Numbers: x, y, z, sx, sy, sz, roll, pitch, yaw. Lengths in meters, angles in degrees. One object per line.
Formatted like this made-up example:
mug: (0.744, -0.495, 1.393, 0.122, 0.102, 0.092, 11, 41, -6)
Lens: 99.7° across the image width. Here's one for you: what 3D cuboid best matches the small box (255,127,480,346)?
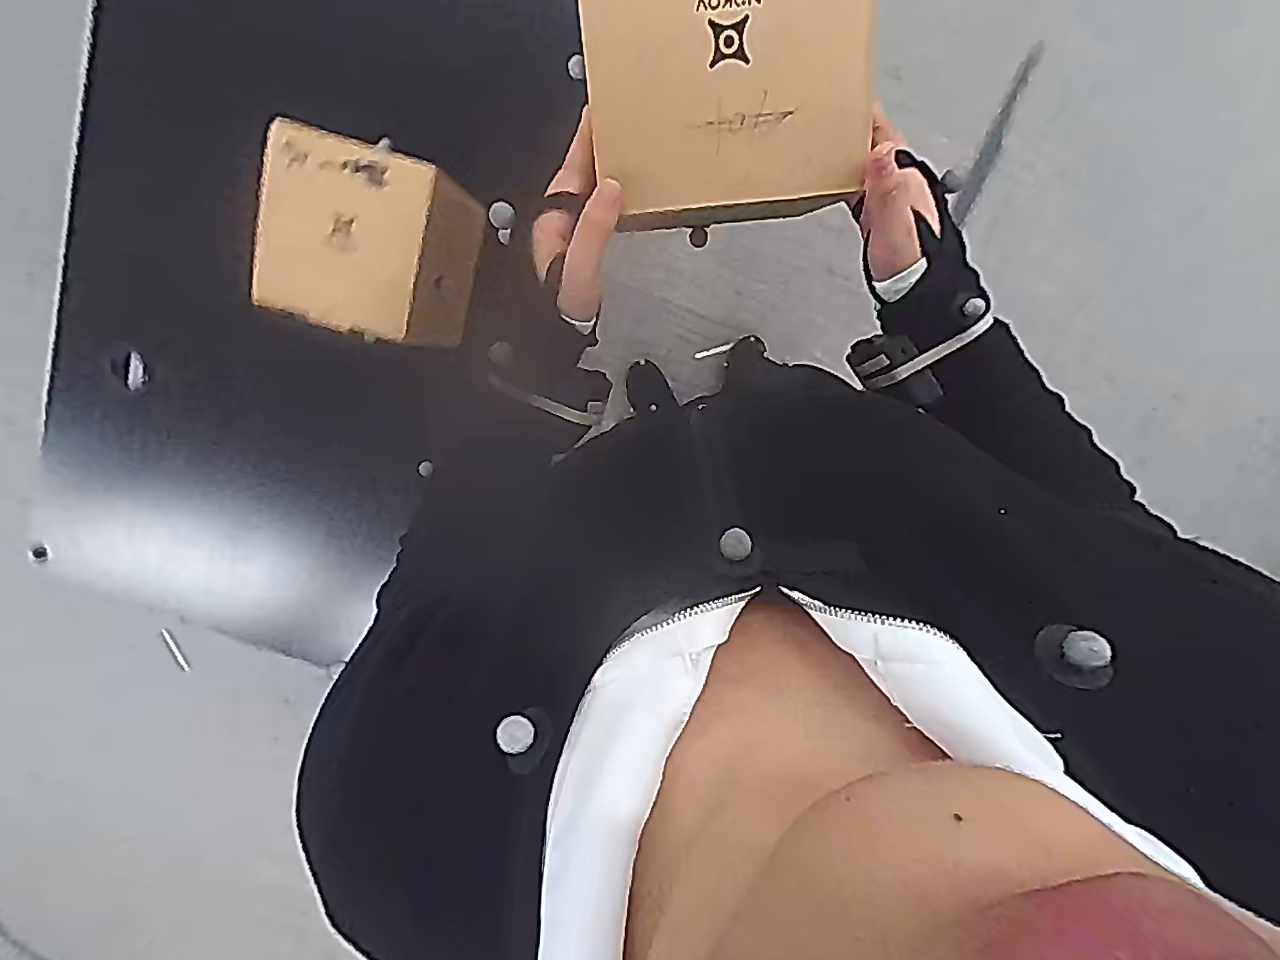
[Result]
small box: (-0.301, -0.261, 0.627, 0.168, 0.176, 0.179, 15, 103, -2)
